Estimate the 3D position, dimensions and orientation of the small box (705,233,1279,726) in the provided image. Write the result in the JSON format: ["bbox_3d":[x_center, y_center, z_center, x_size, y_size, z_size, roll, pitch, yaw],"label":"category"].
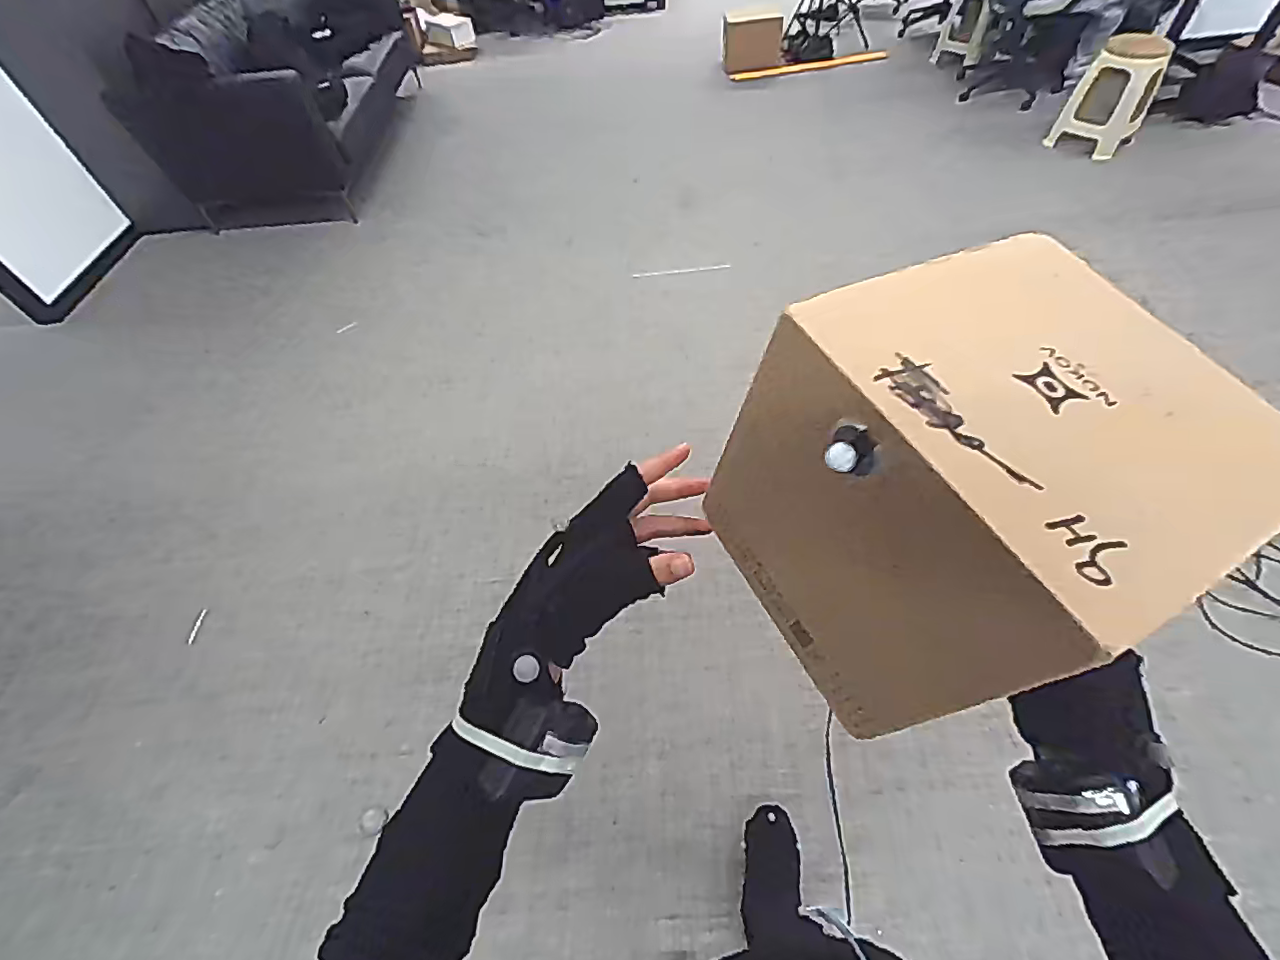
[{"bbox_3d":[0.160,0.003,0.288,0.179,0.176,0.168,-21,62,-22],"label":"small box"}]
